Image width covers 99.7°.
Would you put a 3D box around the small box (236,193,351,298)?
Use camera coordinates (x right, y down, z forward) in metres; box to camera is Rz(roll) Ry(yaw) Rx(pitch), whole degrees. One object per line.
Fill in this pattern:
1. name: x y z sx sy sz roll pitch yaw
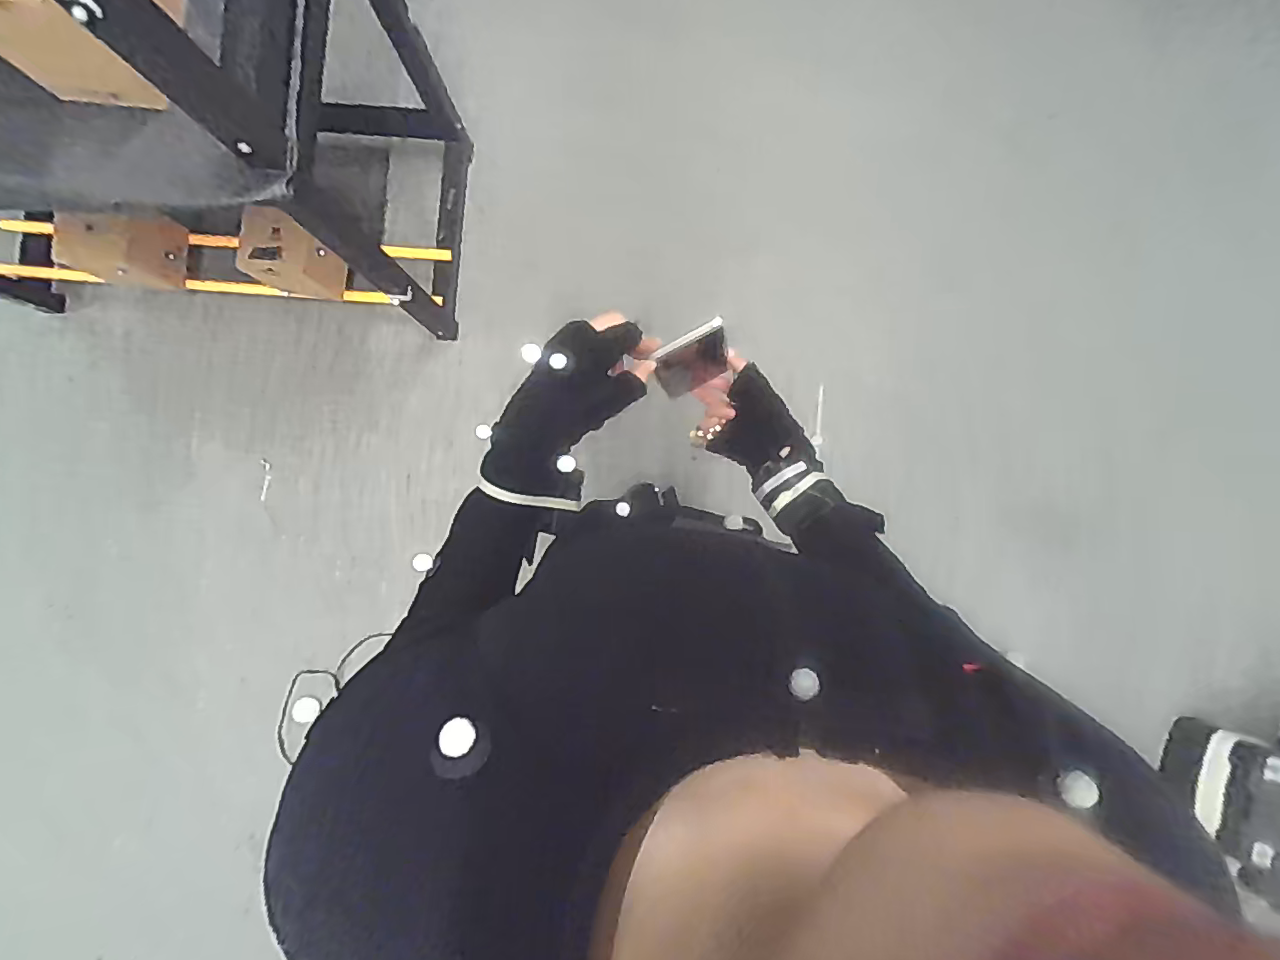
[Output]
1. small box: -0.841 -0.567 1.329 0.168 0.176 0.179 8 87 1
